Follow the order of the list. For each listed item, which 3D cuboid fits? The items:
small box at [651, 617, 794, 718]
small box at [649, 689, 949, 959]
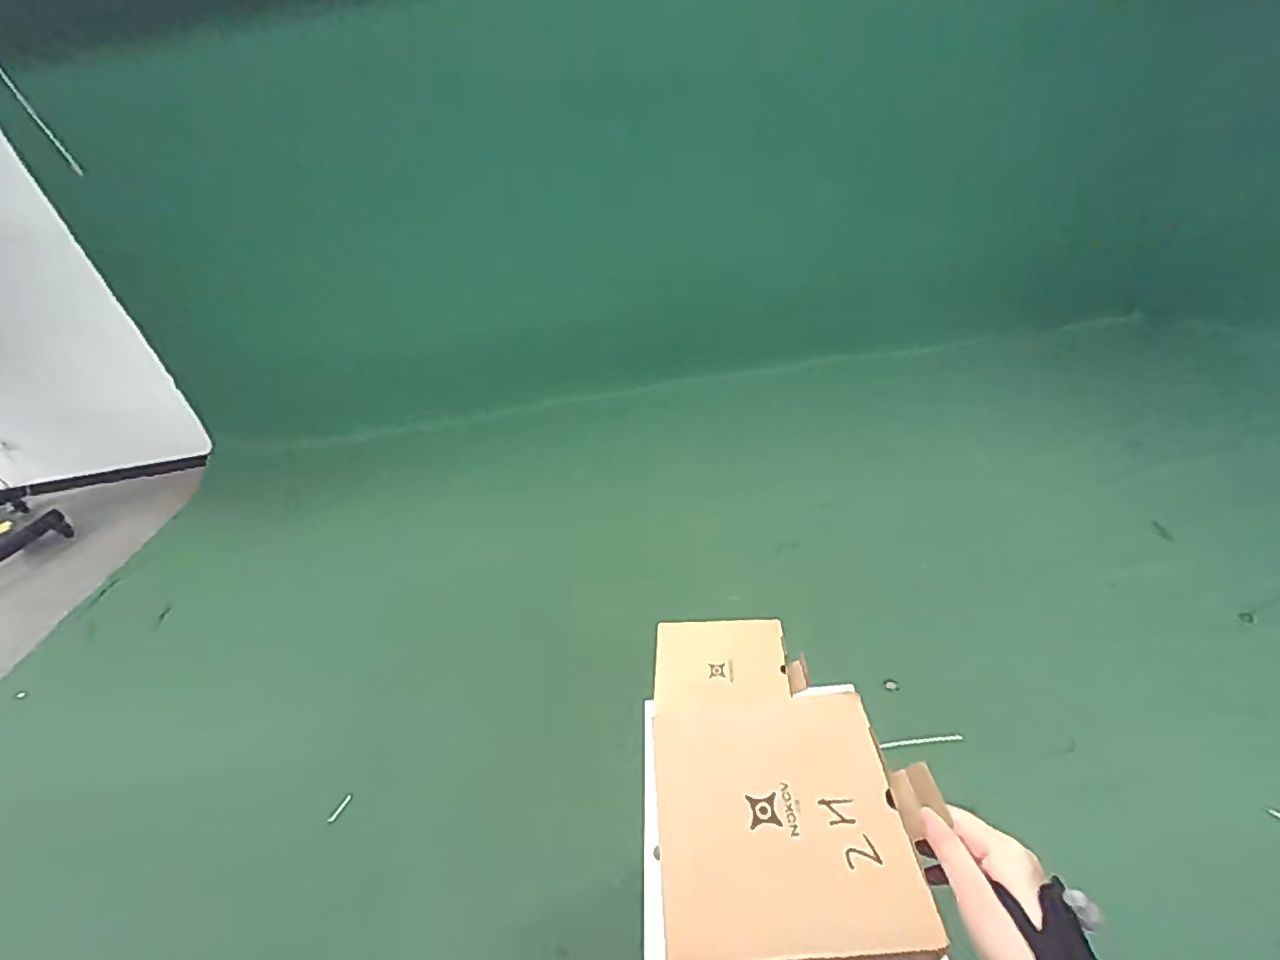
[{"bbox_3d":[0.116,0.311,0.745,0.179,0.176,0.168,-4,35,8],"label":"small box"},{"bbox_3d":[0.109,0.295,0.433,0.179,0.176,0.168,-9,40,4],"label":"small box"}]
